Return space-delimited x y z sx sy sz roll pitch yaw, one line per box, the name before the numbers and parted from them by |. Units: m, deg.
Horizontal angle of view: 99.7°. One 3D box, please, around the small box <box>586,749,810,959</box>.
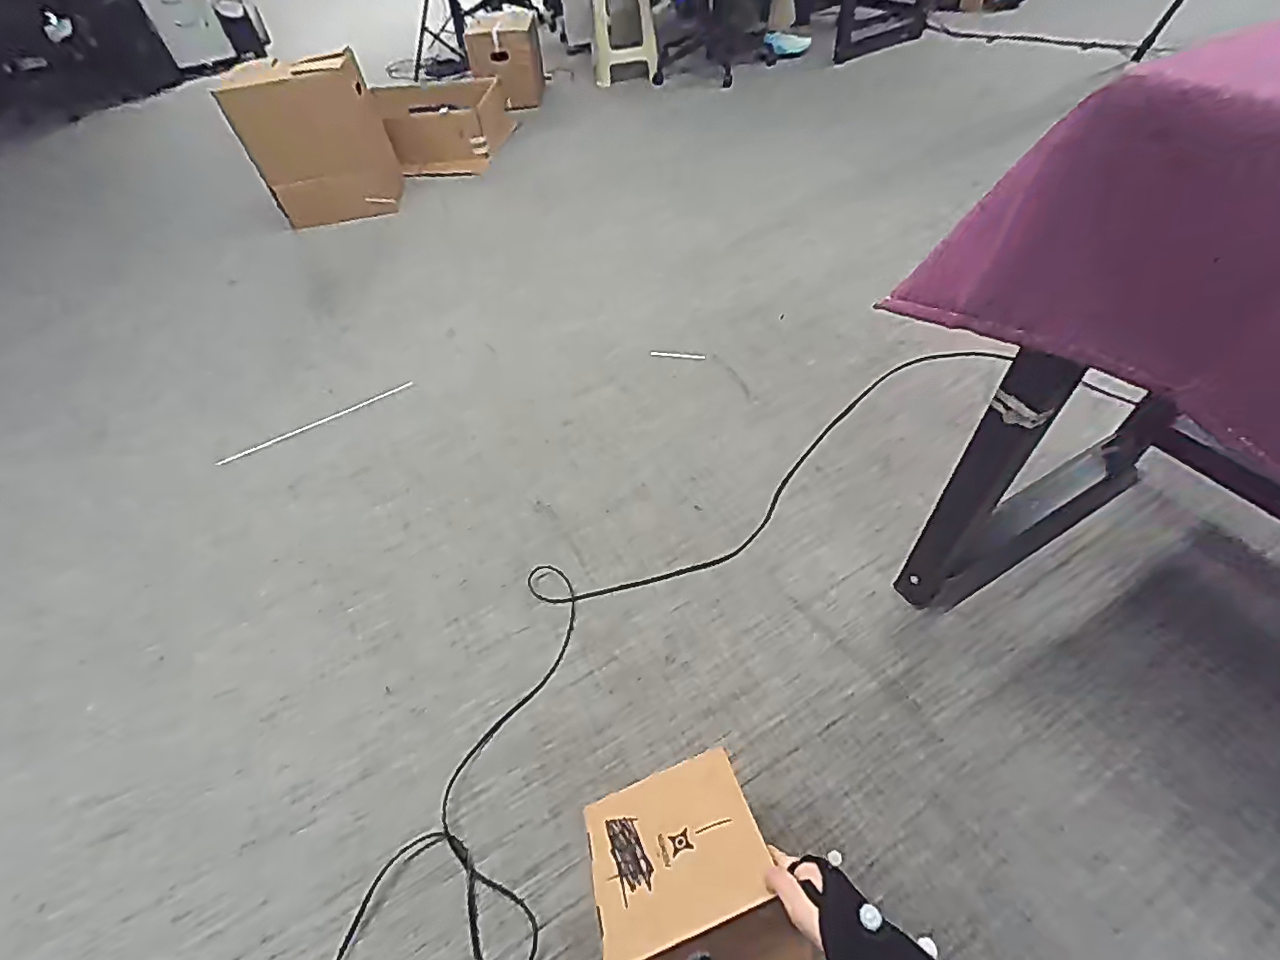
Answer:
small box | 0.059 0.444 0.587 0.179 0.176 0.168 -22 25 -5
